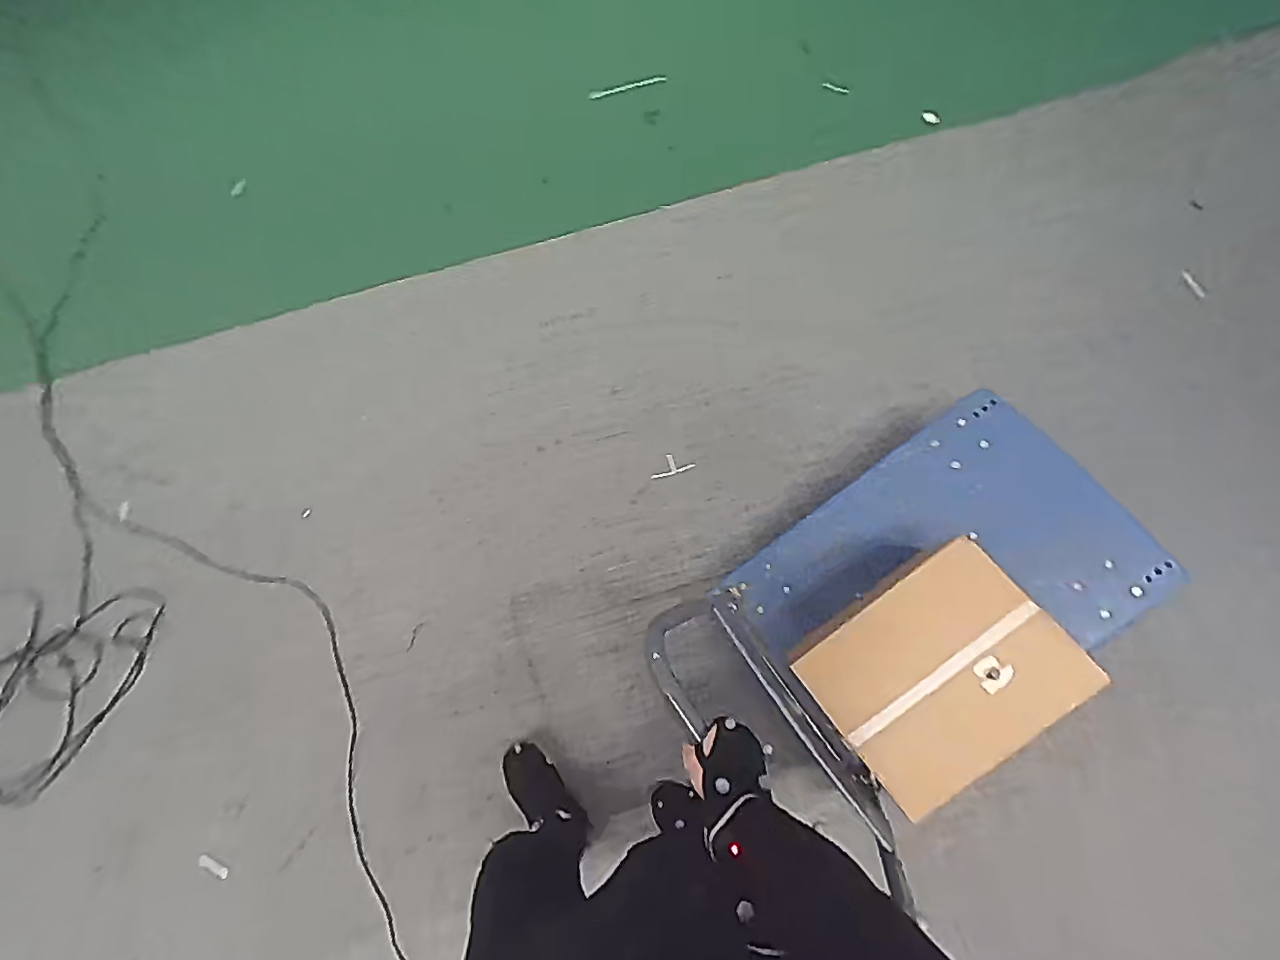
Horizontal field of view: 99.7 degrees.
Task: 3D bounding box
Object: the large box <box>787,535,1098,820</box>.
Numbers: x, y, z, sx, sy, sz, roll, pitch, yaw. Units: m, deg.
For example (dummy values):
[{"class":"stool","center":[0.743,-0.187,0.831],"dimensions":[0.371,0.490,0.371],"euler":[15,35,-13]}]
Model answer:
[{"class":"large box","center":[0.549,0.371,1.082],"dimensions":[0.408,0.320,0.320],"euler":[-38,72,3]}]
